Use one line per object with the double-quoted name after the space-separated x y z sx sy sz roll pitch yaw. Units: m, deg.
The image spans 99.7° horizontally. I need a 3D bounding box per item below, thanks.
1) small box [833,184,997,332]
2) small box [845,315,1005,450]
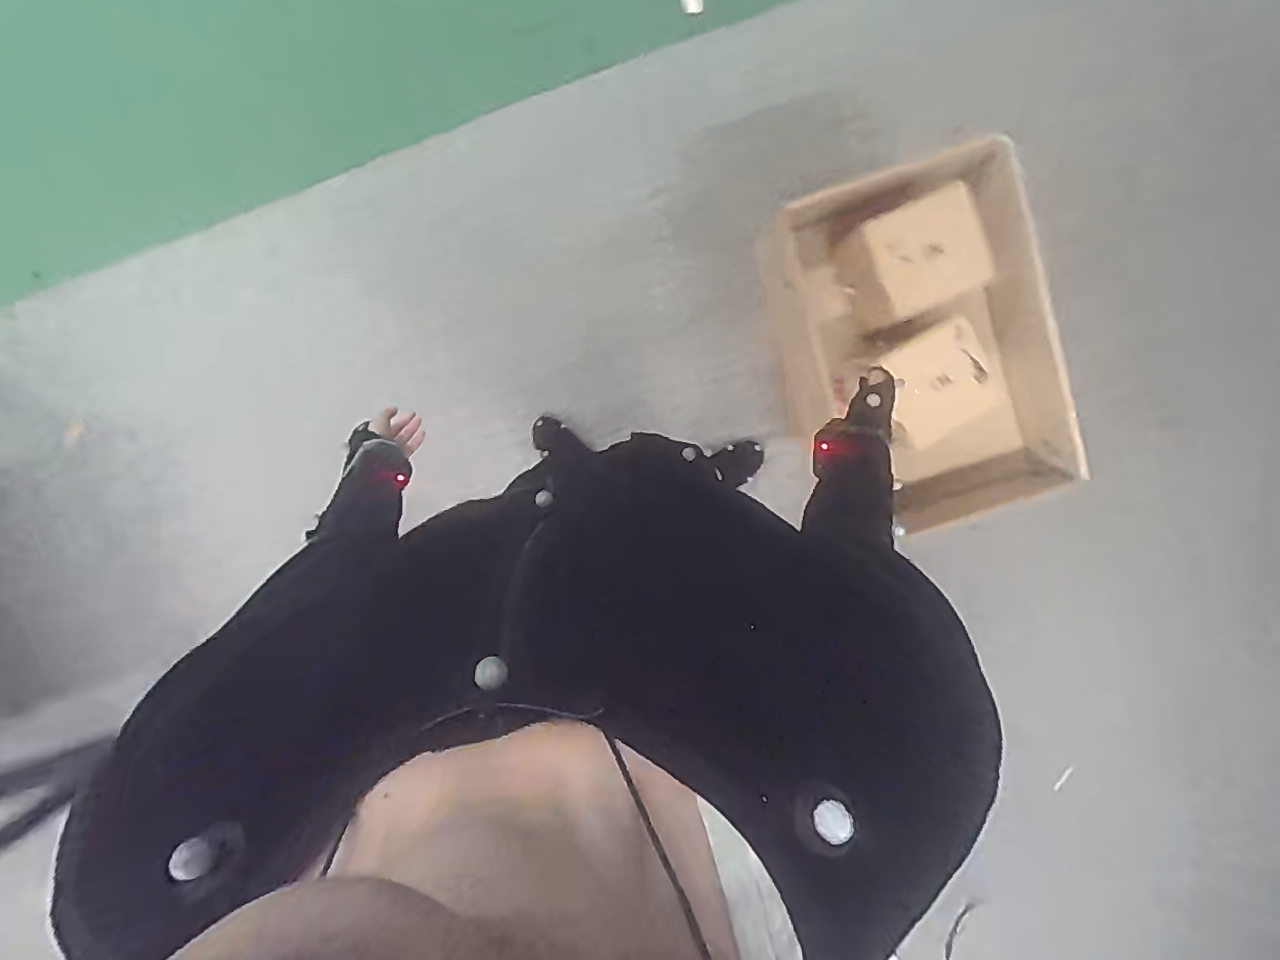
0.470 -0.376 0.946 0.179 0.176 0.168 -21 96 3 "small box"
0.494 -0.169 0.973 0.179 0.176 0.168 -29 96 4 "small box"
